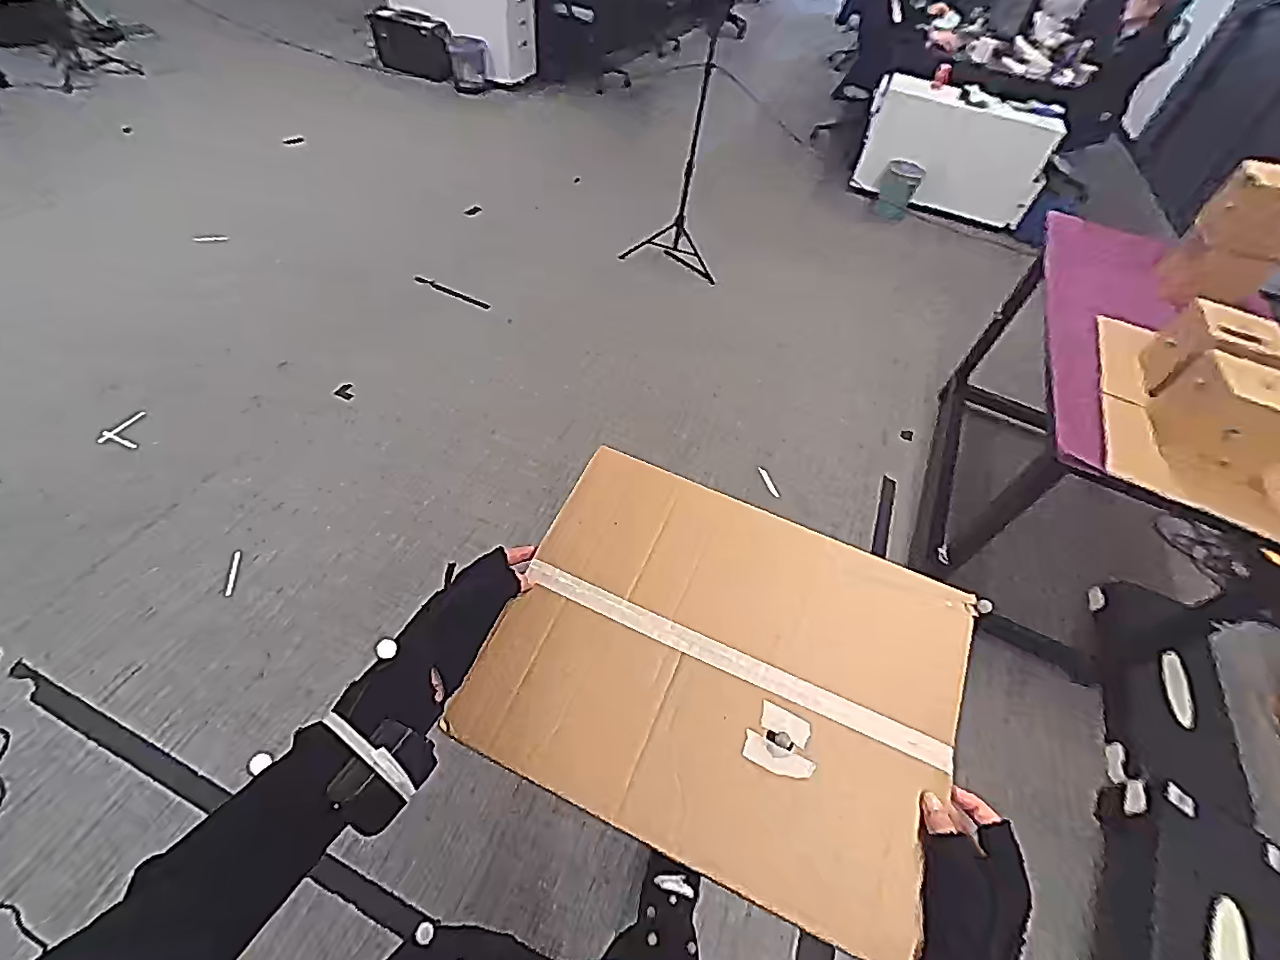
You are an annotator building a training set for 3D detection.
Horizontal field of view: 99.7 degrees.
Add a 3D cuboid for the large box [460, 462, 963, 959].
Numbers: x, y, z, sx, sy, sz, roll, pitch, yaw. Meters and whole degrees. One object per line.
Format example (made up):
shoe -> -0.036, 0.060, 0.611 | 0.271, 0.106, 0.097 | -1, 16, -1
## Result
large box -> 0.075, 0.241, 0.633 | 0.408, 0.320, 0.320 | 23, 63, 10
